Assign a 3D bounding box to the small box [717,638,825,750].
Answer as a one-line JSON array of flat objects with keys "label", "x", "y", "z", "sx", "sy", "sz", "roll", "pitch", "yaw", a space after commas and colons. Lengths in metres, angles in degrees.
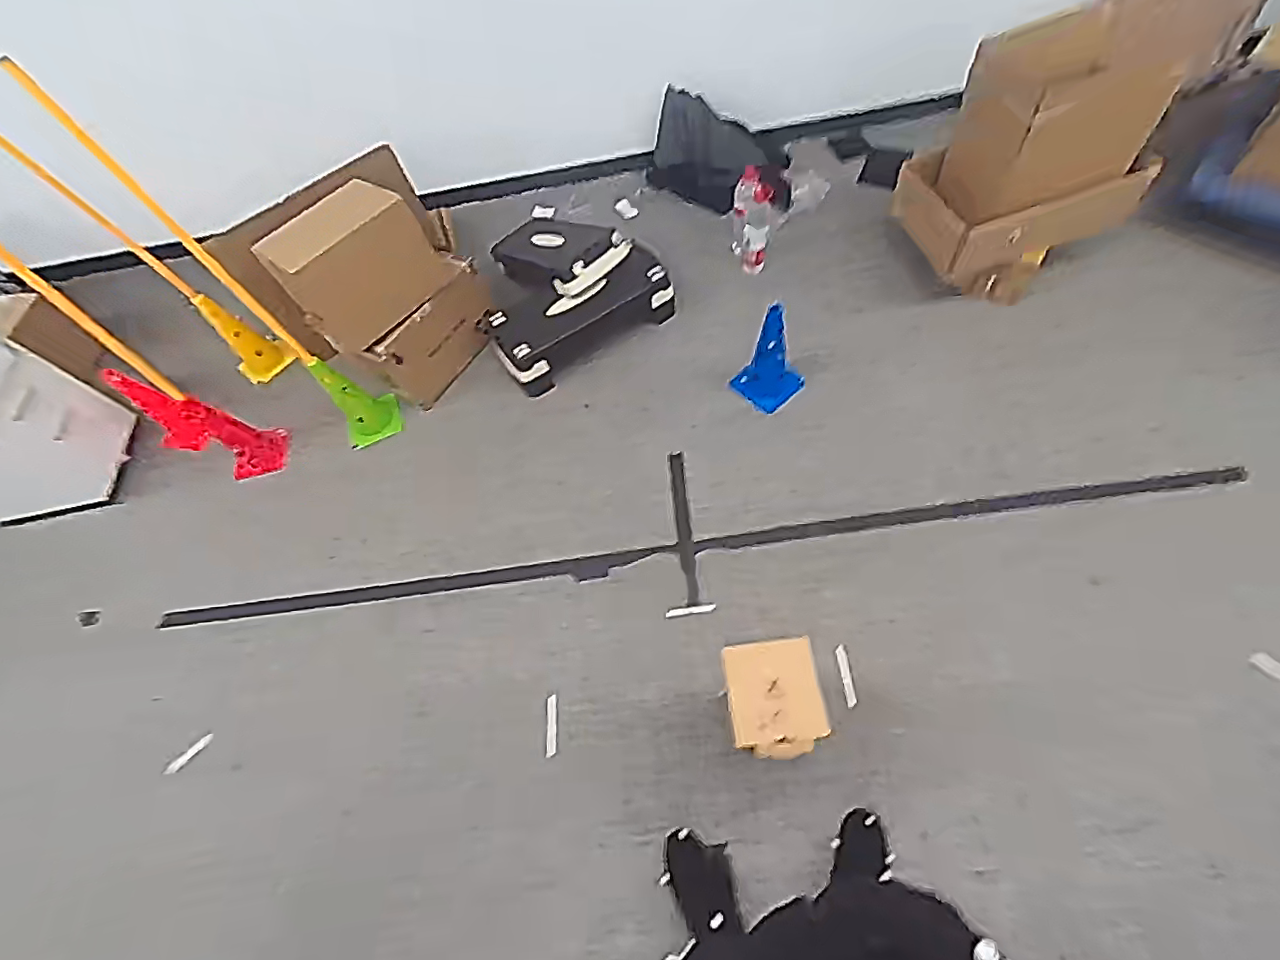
[{"label": "small box", "x": 0.243, "y": 0.421, "z": 1.054, "sx": 0.168, "sy": 0.176, "sz": 0.179, "roll": -8, "pitch": 62, "yaw": 3}]
